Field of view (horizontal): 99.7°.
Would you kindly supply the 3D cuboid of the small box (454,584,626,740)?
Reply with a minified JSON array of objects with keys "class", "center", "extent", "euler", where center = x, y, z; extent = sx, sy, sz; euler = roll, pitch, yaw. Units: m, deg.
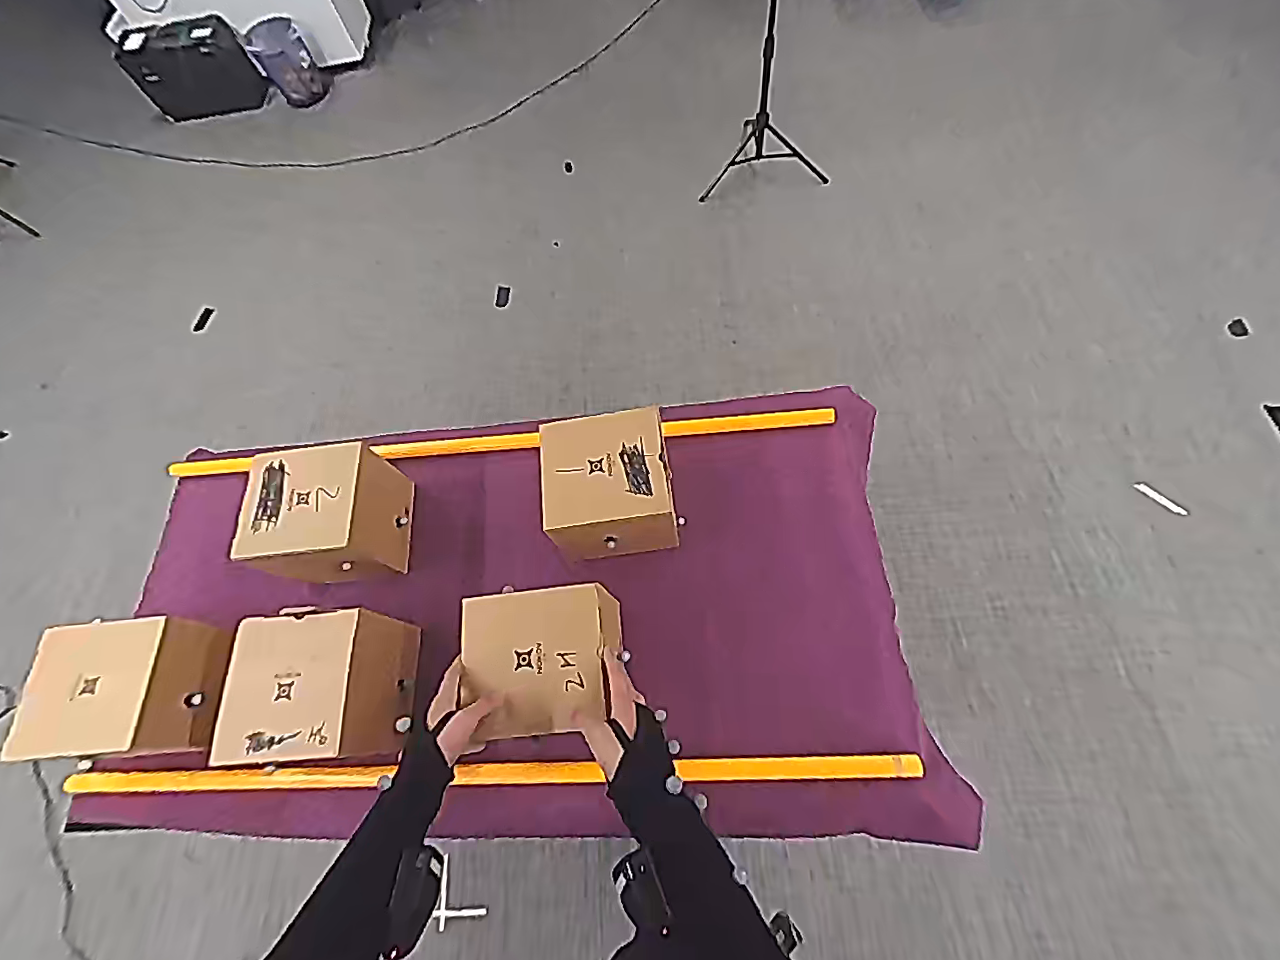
[{"class":"small box","center":[-0.122,0.240,0.706],"extent":[0.179,0.176,0.168],"euler":[-7,69,4]}]

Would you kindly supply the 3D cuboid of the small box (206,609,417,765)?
[{"class":"small box","center":[-0.427,0.286,0.739],"extent":[0.168,0.176,0.179],"euler":[-6,65,5]}]

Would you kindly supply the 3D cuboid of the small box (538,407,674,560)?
[{"class":"small box","center":[-0.044,0.013,0.811],"extent":[0.179,0.176,0.168],"euler":[-9,66,5]}]

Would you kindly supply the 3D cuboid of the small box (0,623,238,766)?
[{"class":"small box","center":[-0.705,0.303,0.767],"extent":[0.179,0.176,0.168],"euler":[-6,65,5]}]
